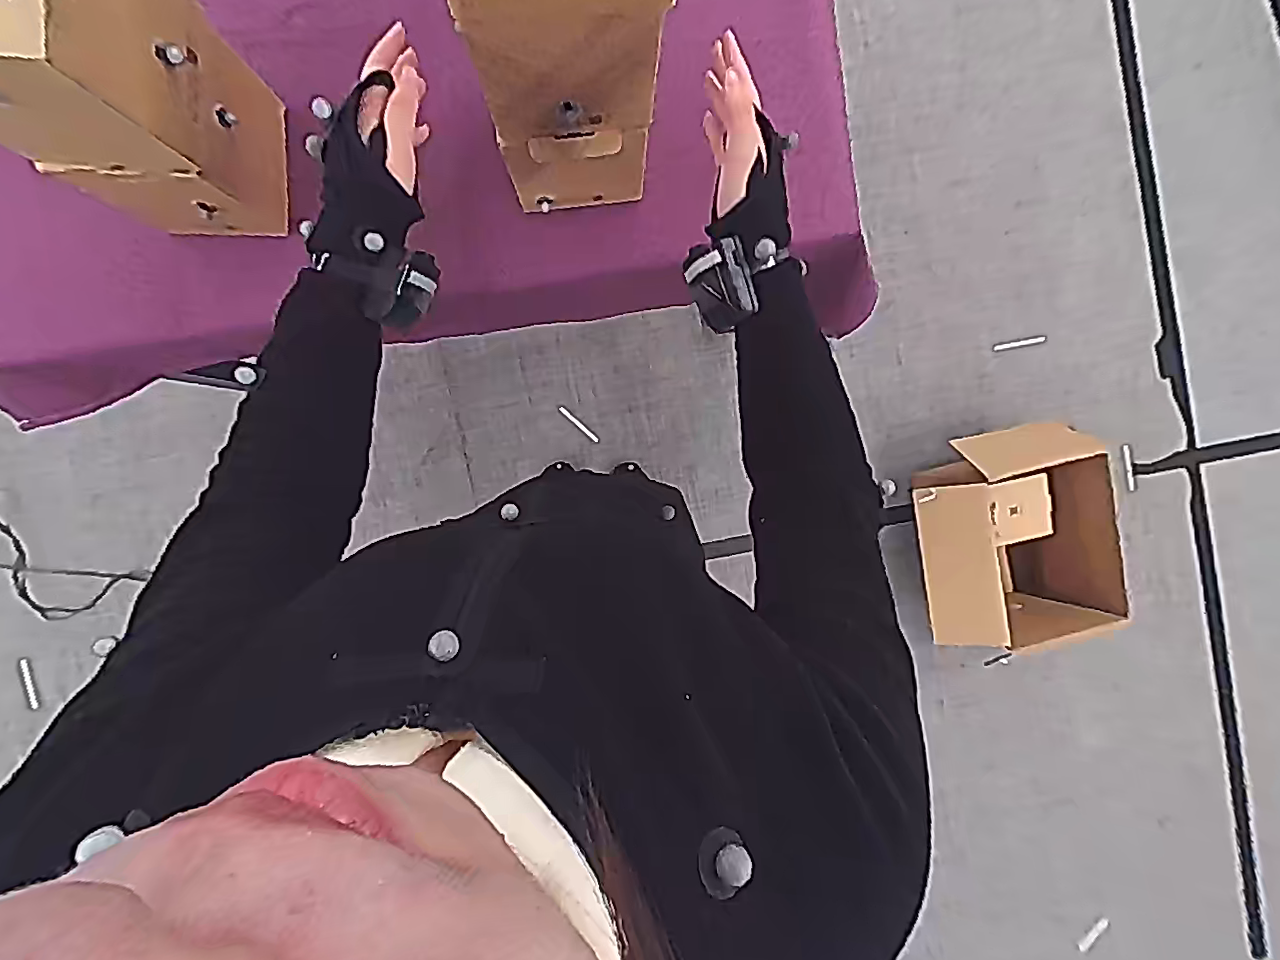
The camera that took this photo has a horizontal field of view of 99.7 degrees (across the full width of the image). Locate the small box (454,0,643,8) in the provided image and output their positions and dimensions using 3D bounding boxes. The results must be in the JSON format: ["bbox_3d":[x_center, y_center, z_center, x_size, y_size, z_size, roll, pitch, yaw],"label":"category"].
[{"bbox_3d":[-0.064,-0.440,0.334,0.179,0.176,0.168,-5,94,-3],"label":"small box"}]

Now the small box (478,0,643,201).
[{"bbox_3d":[-0.088,-0.463,0.658,0.168,0.176,0.179,-8,93,-3],"label":"small box"}]

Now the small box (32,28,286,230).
[{"bbox_3d":[-0.549,-0.414,0.639,0.168,0.176,0.179,1,93,-4],"label":"small box"}]

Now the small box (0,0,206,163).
[{"bbox_3d":[-0.535,-0.407,0.476,0.179,0.176,0.168,2,94,-4],"label":"small box"}]
